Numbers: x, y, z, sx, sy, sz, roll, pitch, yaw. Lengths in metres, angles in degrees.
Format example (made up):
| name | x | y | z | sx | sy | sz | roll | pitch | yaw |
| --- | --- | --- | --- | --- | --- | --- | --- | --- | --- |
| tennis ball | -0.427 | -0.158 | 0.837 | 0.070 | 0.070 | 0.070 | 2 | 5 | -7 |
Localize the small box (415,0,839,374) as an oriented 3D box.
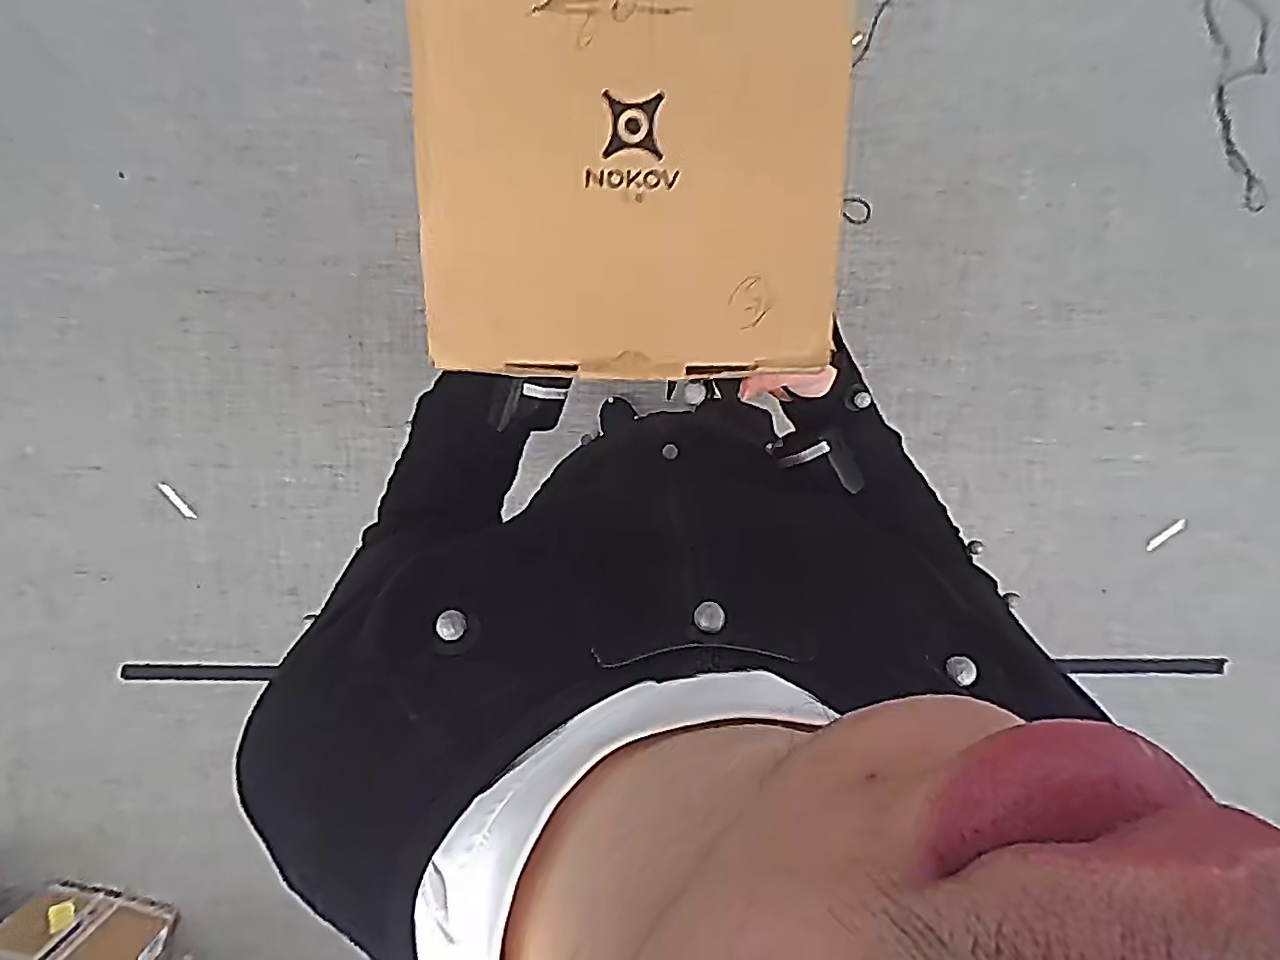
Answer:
| name | x | y | z | sx | sy | sz | roll | pitch | yaw |
| --- | --- | --- | --- | --- | --- | --- | --- | --- | --- |
| small box | -0.007 | -0.149 | 0.297 | 0.168 | 0.176 | 0.179 | 0 | 101 | -2 |
